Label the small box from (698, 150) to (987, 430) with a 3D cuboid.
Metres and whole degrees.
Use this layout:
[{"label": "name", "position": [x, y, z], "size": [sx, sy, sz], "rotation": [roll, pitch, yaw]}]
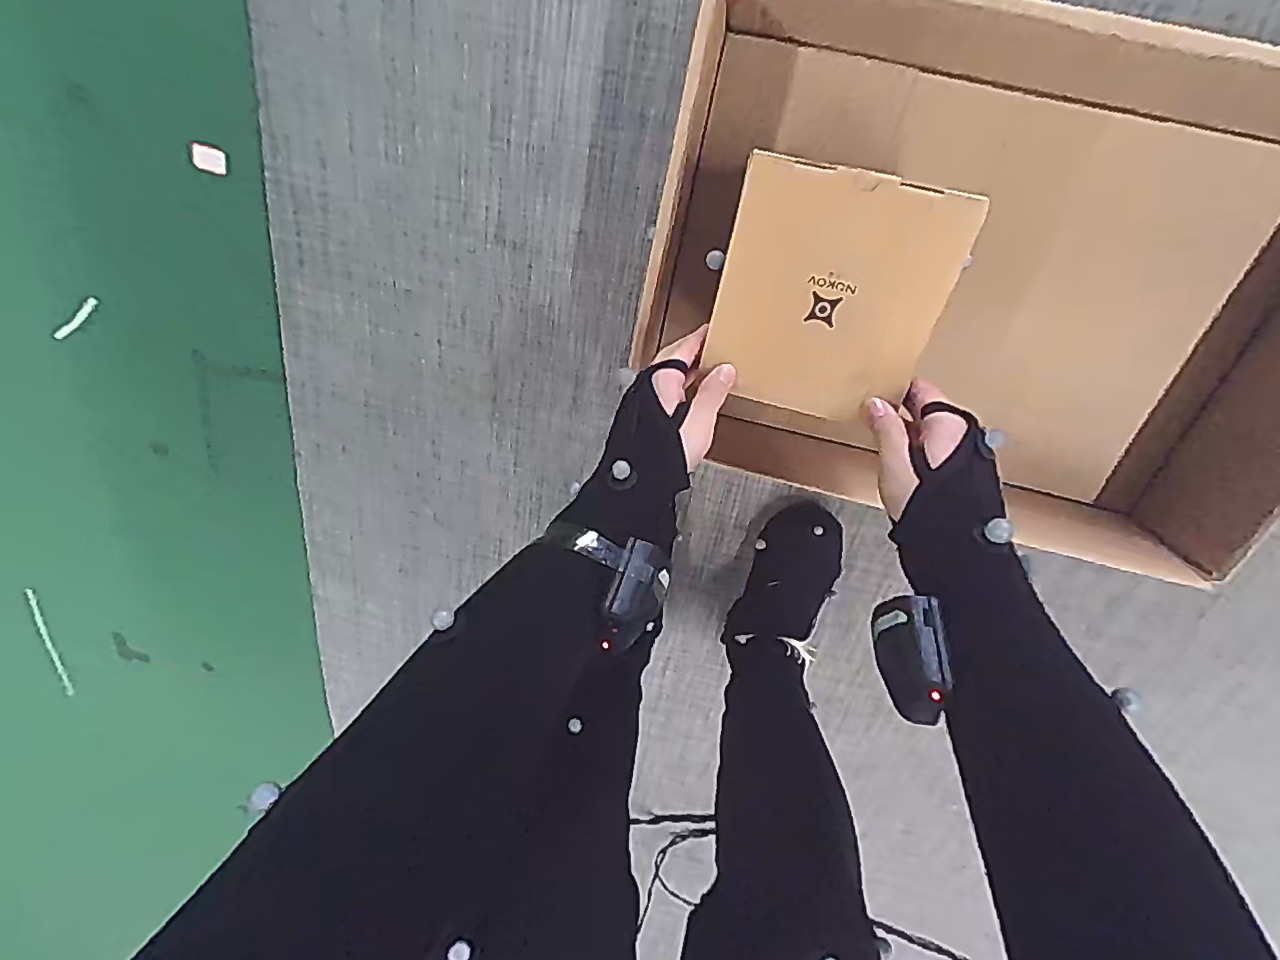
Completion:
[{"label": "small box", "position": [0.161, -0.169, 0.480], "size": [0.168, 0.176, 0.179], "rotation": [16, 117, 7]}]
